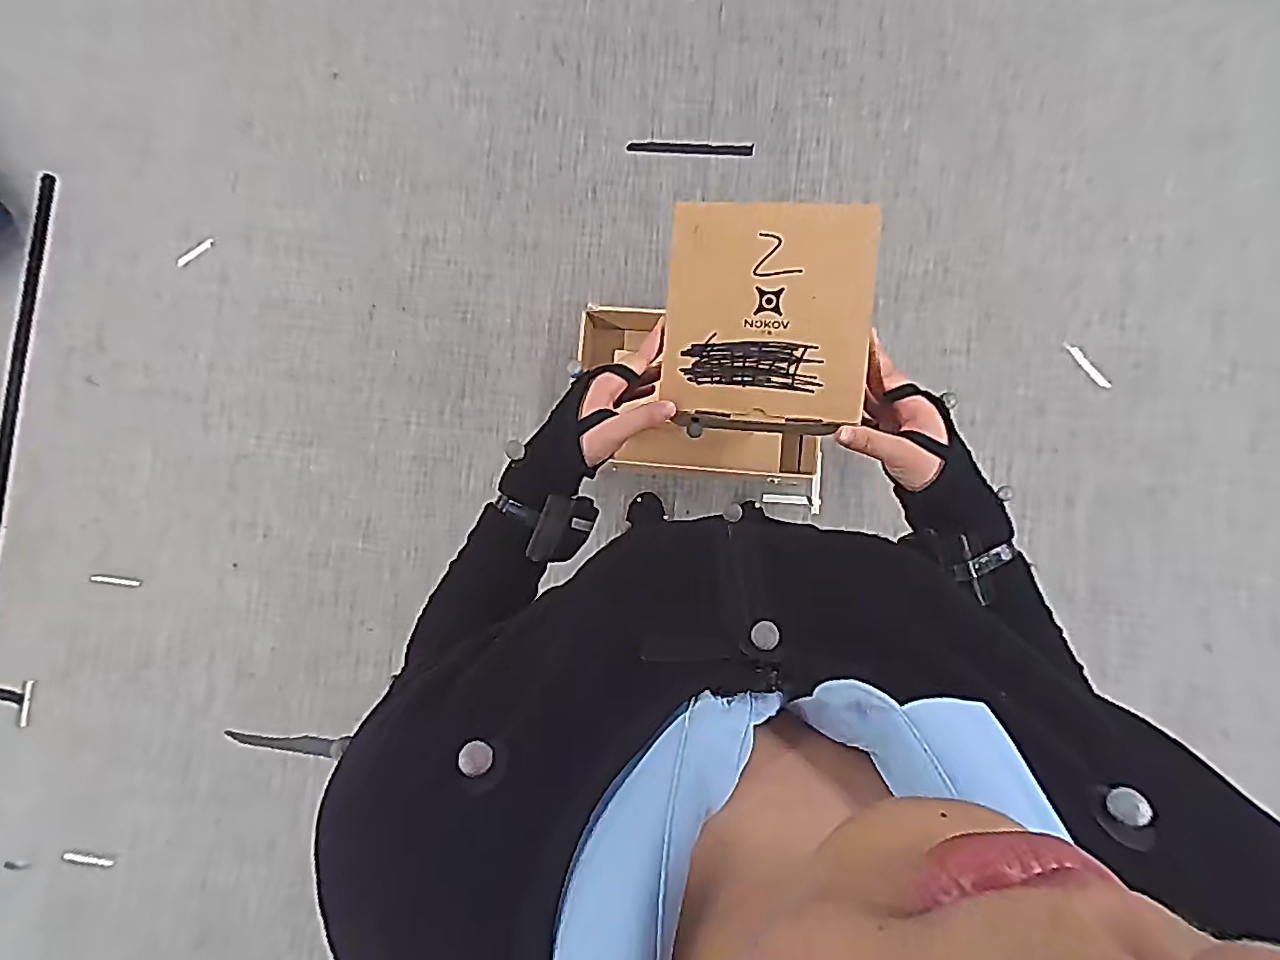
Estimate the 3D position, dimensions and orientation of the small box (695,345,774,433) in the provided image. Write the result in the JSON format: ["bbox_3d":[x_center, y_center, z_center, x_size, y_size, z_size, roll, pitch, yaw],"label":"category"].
[{"bbox_3d":[0.236,-0.227,1.394,0.168,0.176,0.179,10,88,5],"label":"small box"}]

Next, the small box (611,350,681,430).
[{"bbox_3d":[0.018,-0.226,1.405,0.168,0.176,0.179,3,87,2],"label":"small box"}]
